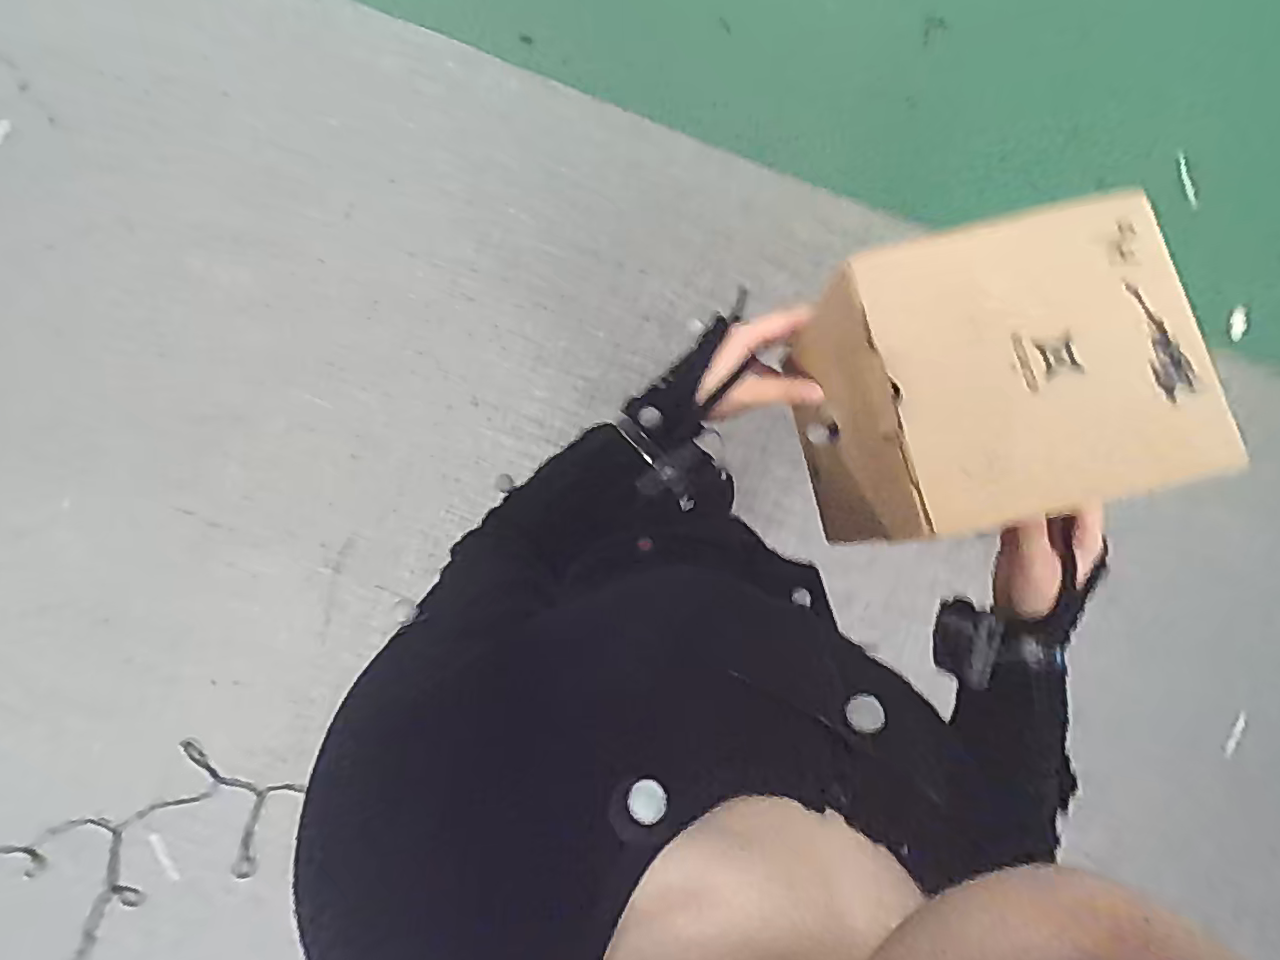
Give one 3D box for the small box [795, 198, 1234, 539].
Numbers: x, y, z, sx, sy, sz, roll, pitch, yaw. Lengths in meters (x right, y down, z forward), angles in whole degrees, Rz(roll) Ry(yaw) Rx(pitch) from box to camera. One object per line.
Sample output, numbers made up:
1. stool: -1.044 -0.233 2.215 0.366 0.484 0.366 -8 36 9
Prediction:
1. small box: 0.220 -0.055 0.380 0.179 0.176 0.168 -12 82 1
